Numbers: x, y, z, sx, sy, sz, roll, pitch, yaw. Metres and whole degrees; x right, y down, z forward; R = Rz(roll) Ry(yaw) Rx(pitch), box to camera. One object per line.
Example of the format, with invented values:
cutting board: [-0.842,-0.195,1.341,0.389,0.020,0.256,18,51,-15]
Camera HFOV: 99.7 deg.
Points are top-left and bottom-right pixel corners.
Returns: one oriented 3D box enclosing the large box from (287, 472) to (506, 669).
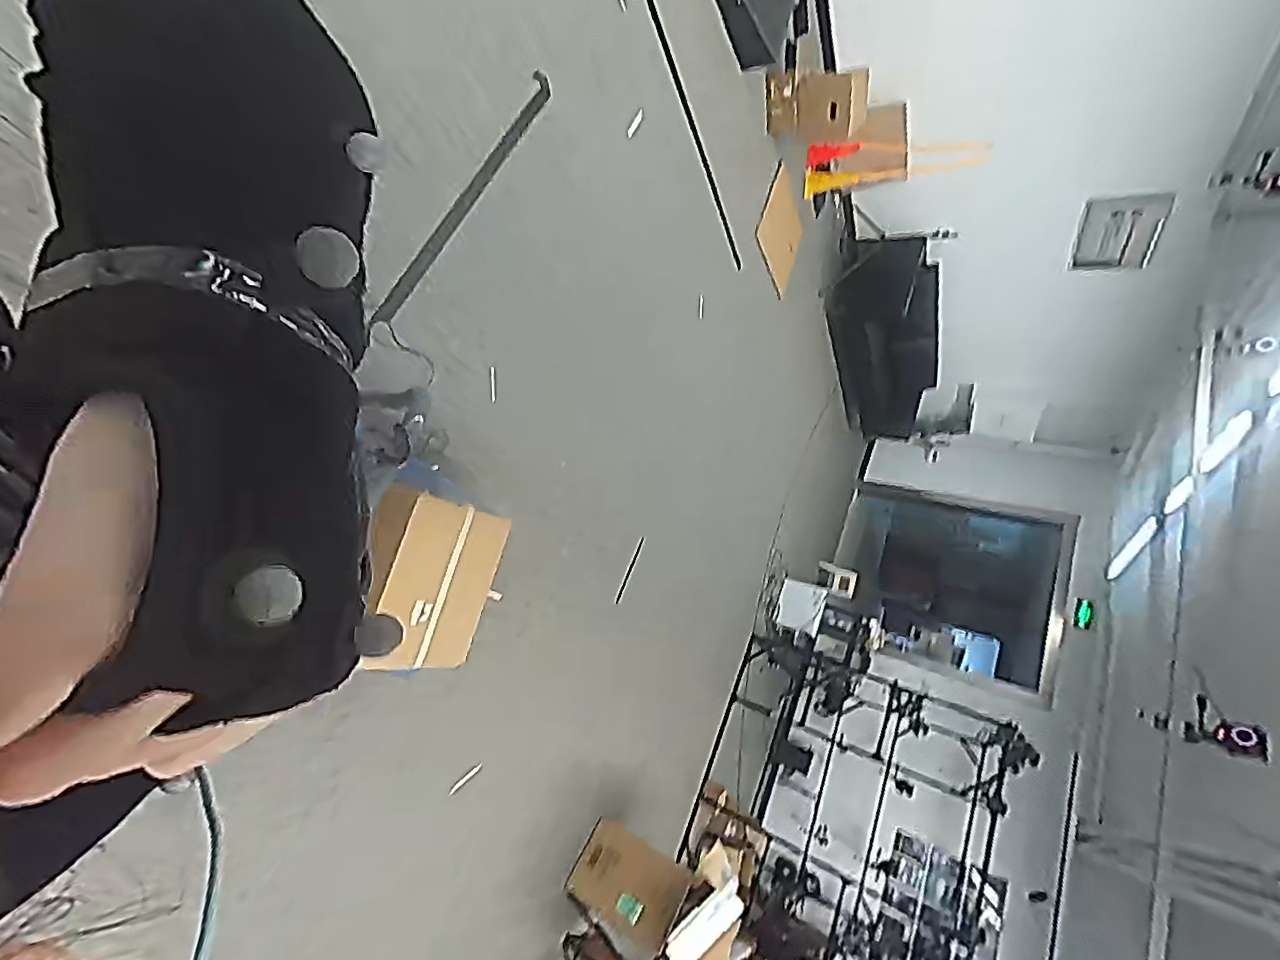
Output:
large box: [-0.612,0.228,1.388,0.320,0.320,0.408,29,76,-56]
